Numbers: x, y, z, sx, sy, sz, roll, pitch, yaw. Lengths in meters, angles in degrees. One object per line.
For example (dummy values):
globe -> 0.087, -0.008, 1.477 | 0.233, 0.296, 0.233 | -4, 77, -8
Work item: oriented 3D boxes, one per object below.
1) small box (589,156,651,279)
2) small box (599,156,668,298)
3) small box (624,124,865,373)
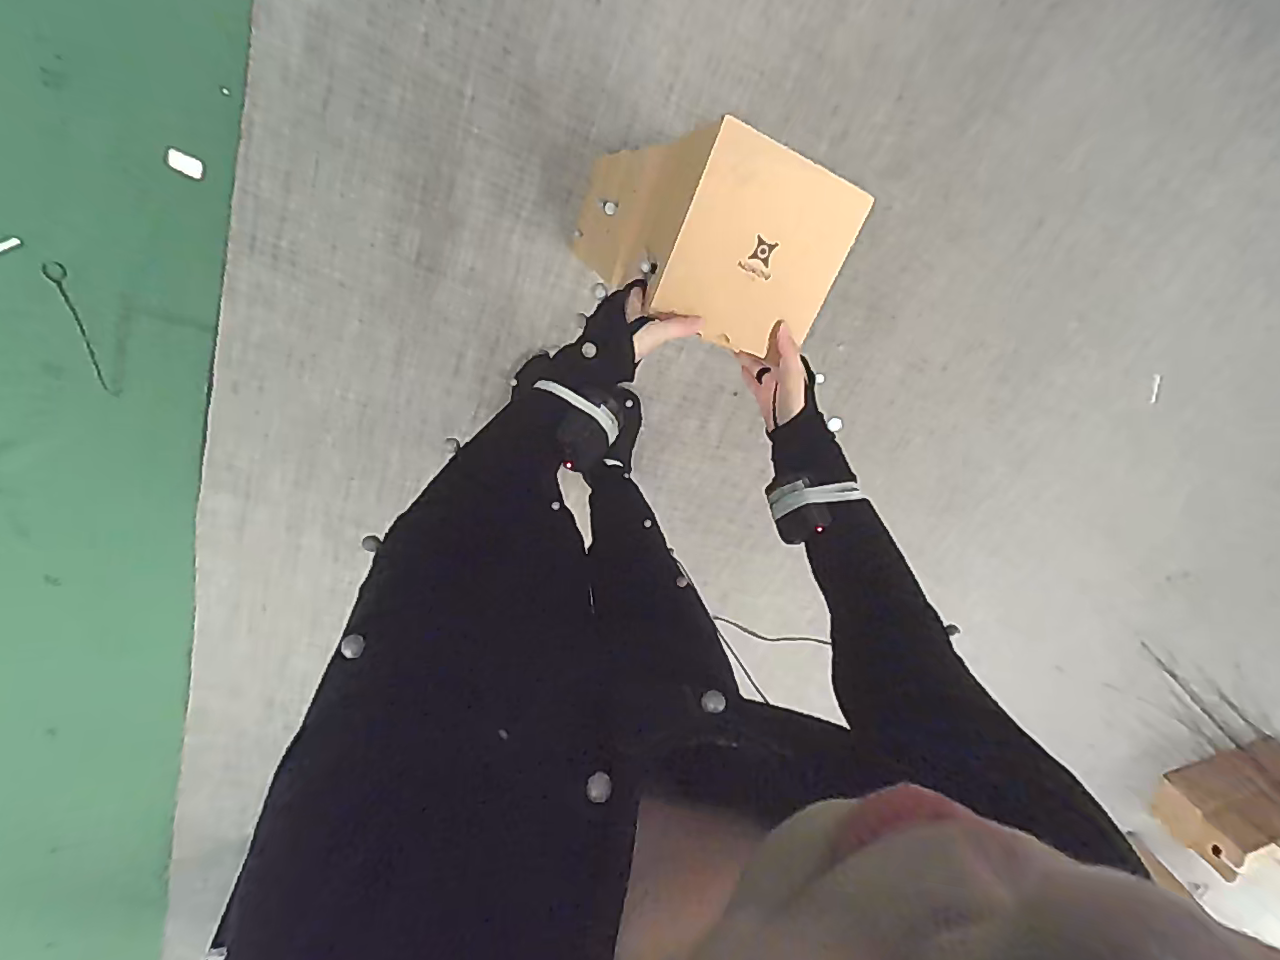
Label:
small box -> 0.019, -0.406, 0.893 | 0.168, 0.176, 0.179 | 12, 114, -17
small box -> 0.055, -0.327, 0.753 | 0.179, 0.176, 0.168 | 14, 113, -18
small box -> 0.093, -0.242, 0.582 | 0.168, 0.176, 0.179 | 16, 112, -19
